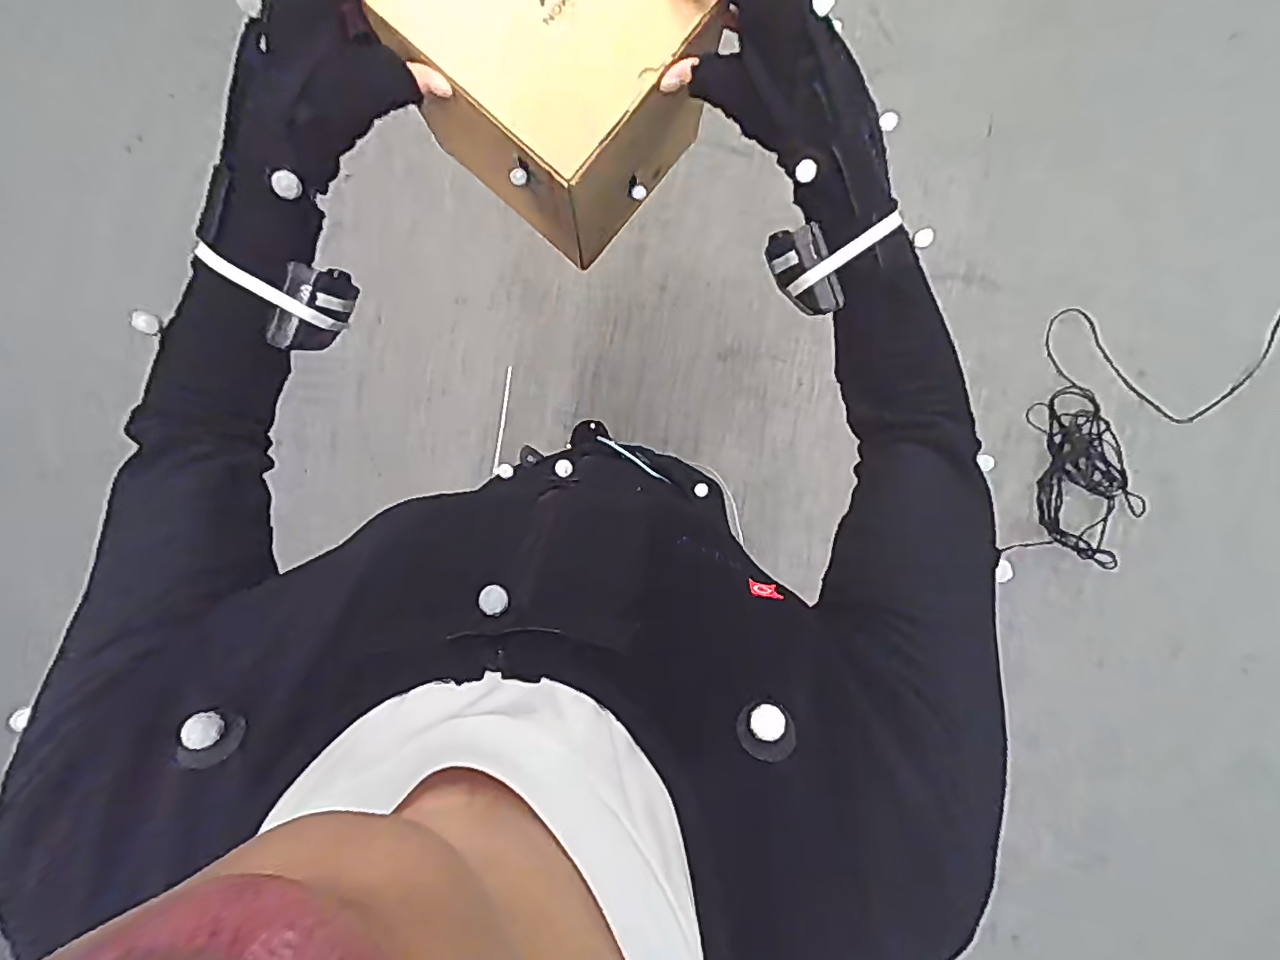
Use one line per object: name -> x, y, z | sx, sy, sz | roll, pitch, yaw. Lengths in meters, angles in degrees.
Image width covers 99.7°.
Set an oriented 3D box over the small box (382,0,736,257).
small box -> -0.061, -0.313, 0.425 | 0.179, 0.176, 0.168 | 42, 89, -7
